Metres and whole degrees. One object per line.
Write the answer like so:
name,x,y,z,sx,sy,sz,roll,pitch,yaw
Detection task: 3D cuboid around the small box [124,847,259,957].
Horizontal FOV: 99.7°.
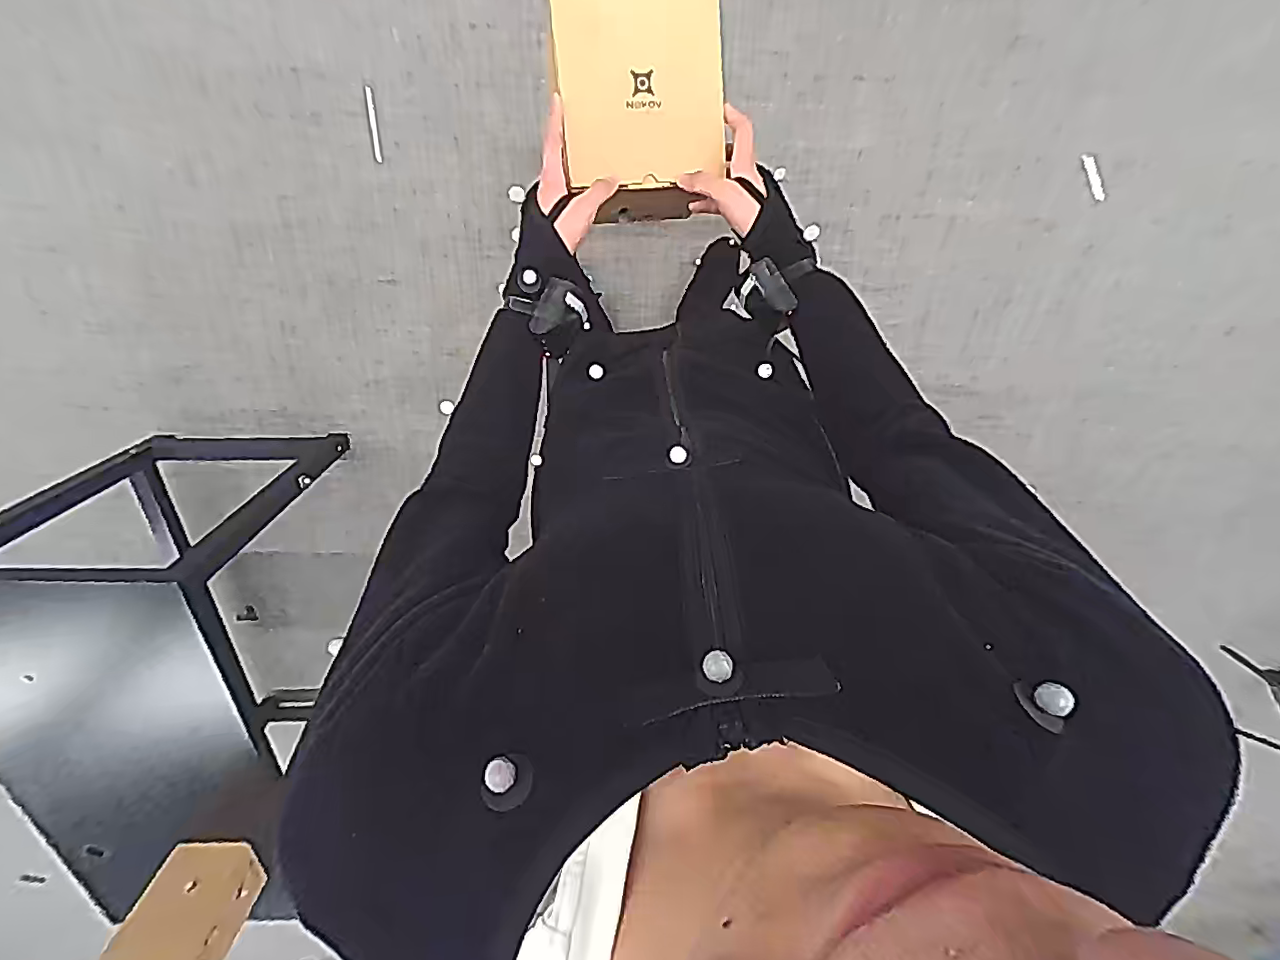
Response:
small box,-1.069,1.024,1.314,0.179,0.176,0.168,-1,117,-2

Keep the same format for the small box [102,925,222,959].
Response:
small box,-1.066,1.099,1.167,0.179,0.176,0.168,0,118,-2

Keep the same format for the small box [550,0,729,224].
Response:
small box,-0.008,-0.400,0.599,0.168,0.176,0.179,-7,105,-8
